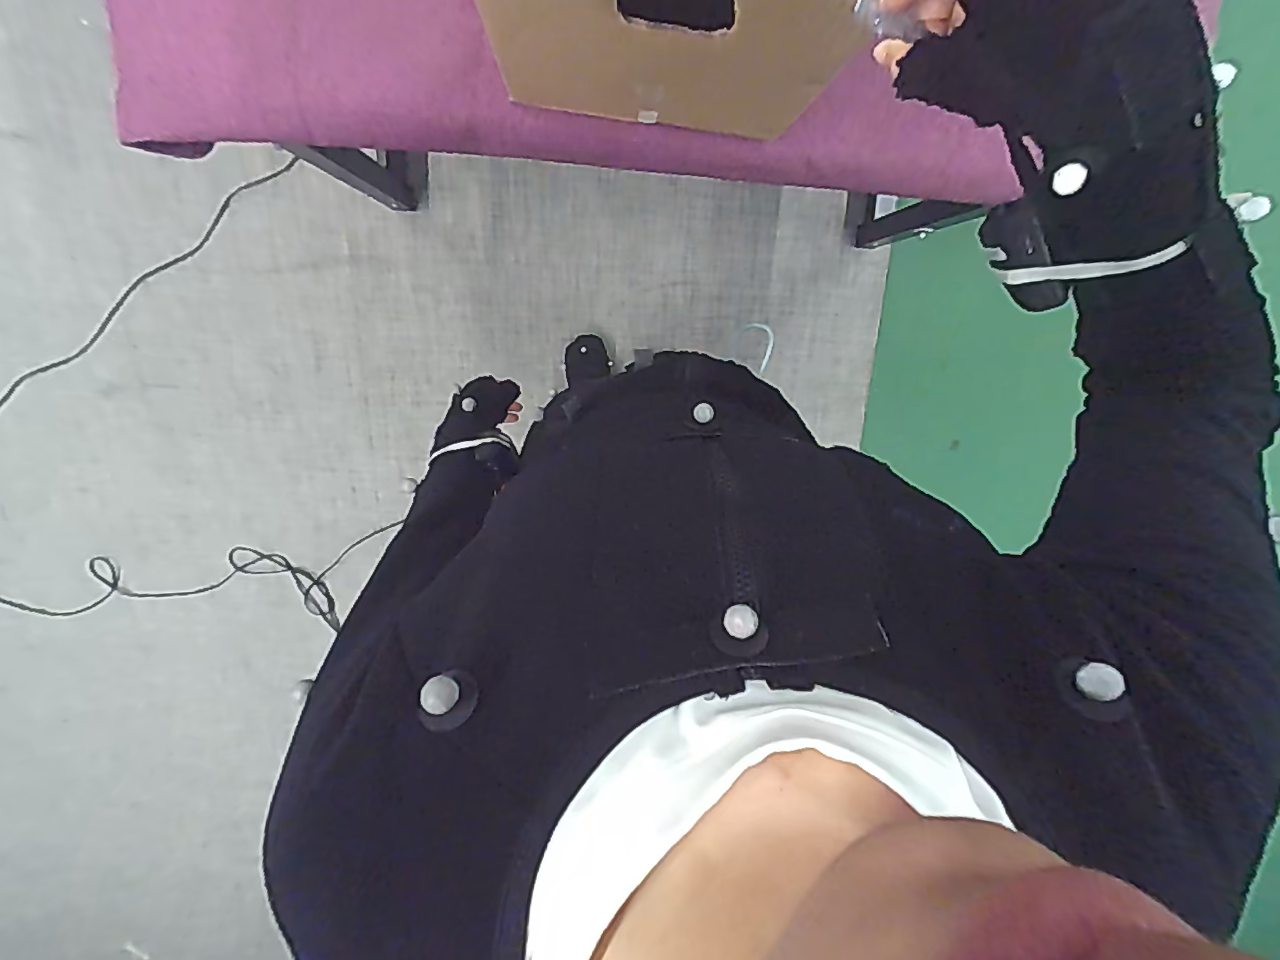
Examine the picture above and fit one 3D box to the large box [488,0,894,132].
[{"bbox_3d":[0.039,-0.576,0.438,0.320,0.320,0.408,5,106,-6],"label":"large box"}]
